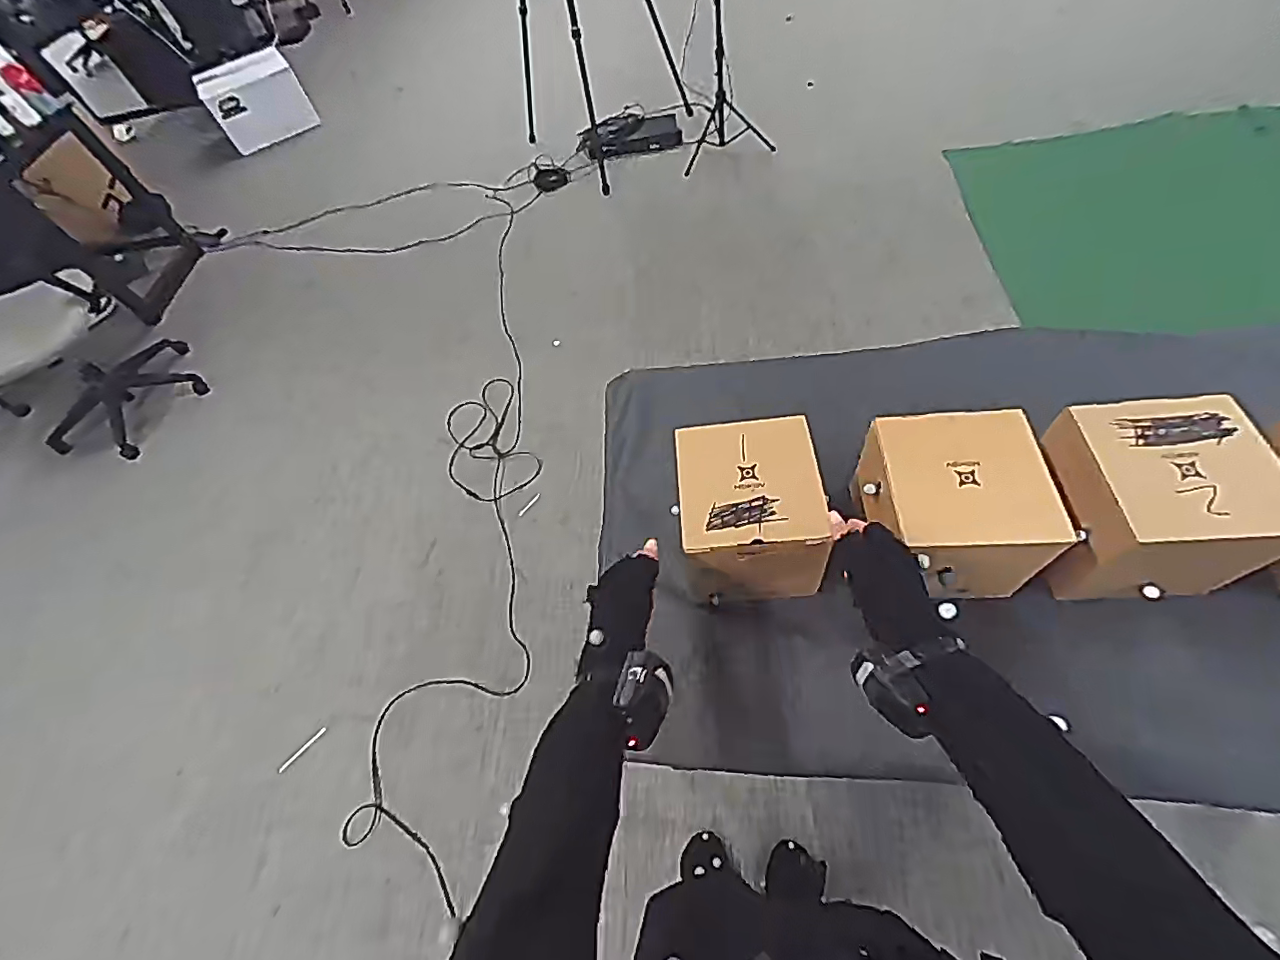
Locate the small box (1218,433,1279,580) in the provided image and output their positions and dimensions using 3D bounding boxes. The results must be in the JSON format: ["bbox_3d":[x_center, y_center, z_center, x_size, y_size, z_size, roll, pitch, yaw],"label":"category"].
[{"bbox_3d":[0.817,0.018,0.591,0.168,0.176,0.179,-4,57,9],"label":"small box"}]
